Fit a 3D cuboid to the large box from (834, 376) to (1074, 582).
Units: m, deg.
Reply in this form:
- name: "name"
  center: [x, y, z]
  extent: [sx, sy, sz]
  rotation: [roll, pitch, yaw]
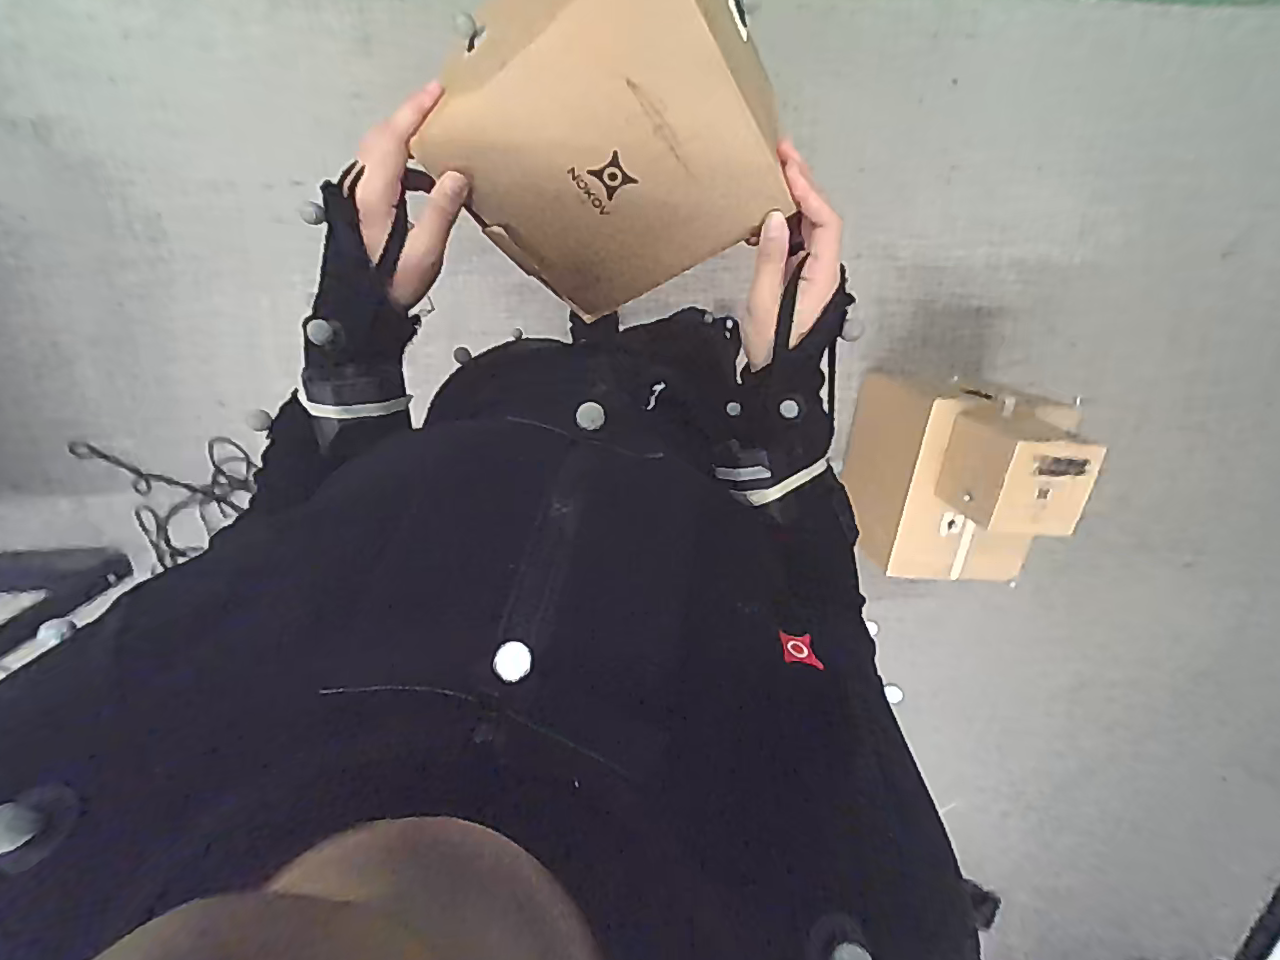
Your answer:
- name: "large box"
  center: [0.696, -0.015, 1.273]
  extent: [0.320, 0.320, 0.408]
  rotation: [3, 112, -4]
